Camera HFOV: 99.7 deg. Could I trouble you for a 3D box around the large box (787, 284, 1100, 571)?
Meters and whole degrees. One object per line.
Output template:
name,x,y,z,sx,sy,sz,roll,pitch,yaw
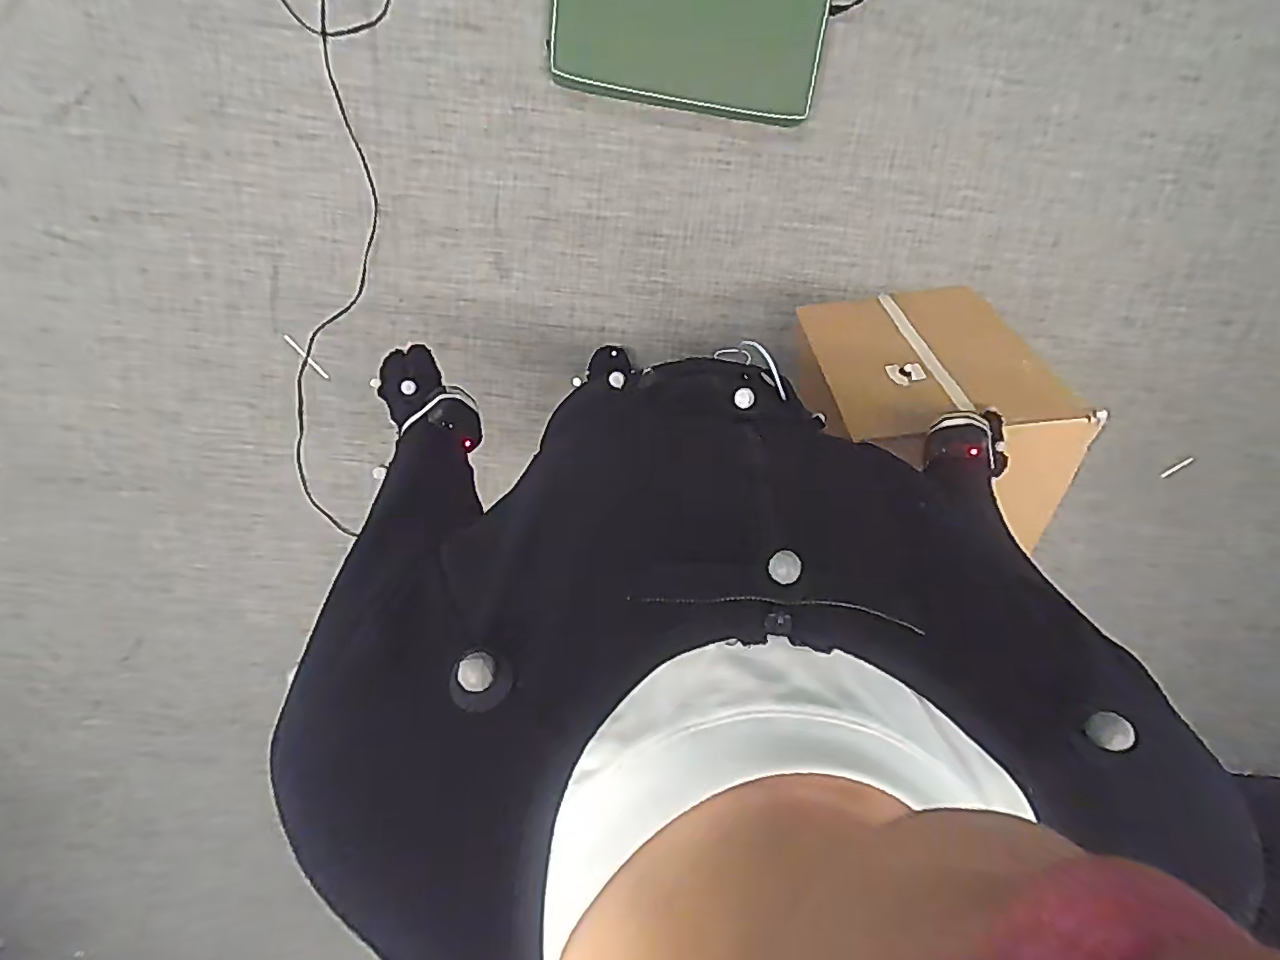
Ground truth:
large box,0.459,-0.099,0.952,0.320,0.408,0.320,-6,133,6
